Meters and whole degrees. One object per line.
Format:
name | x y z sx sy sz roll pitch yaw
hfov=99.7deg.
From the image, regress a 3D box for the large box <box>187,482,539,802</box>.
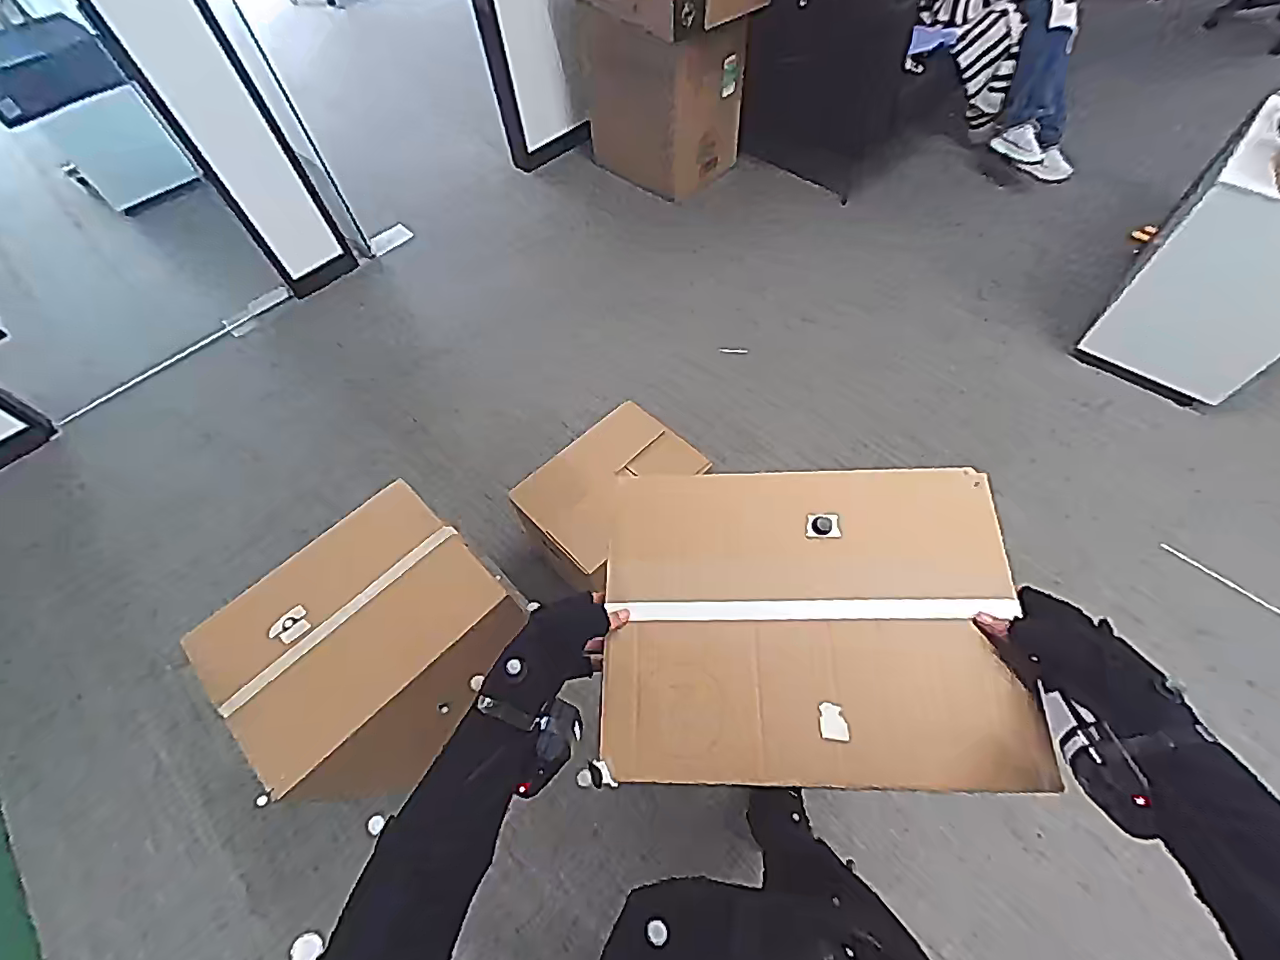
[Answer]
large box | -0.452 0.288 0.975 0.320 0.320 0.408 40 70 22
